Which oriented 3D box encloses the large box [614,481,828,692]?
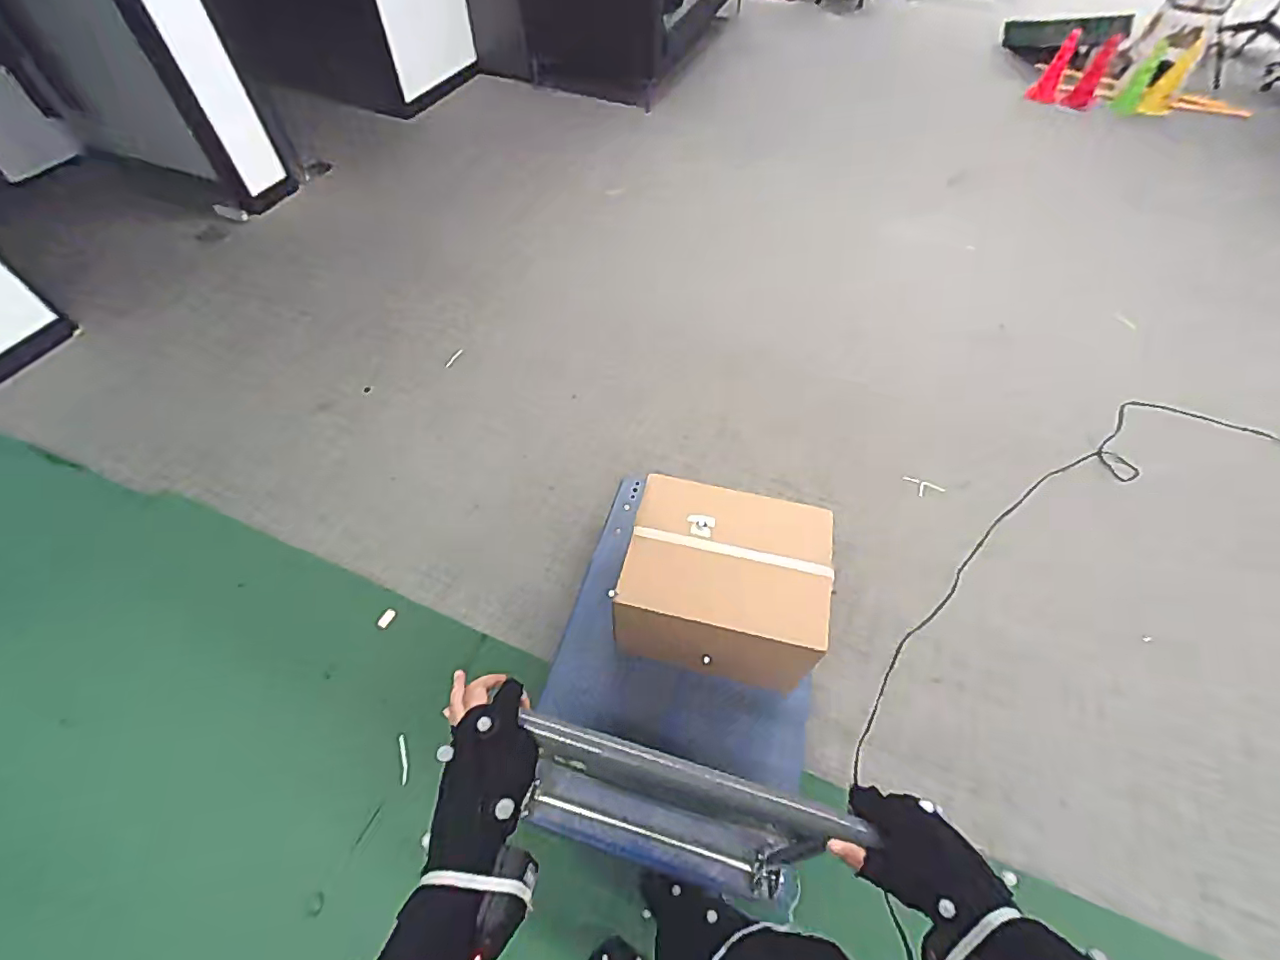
[{"bbox_3d":[0.177,0.243,1.211,0.408,0.320,0.320,11,54,8],"label":"large box"}]
